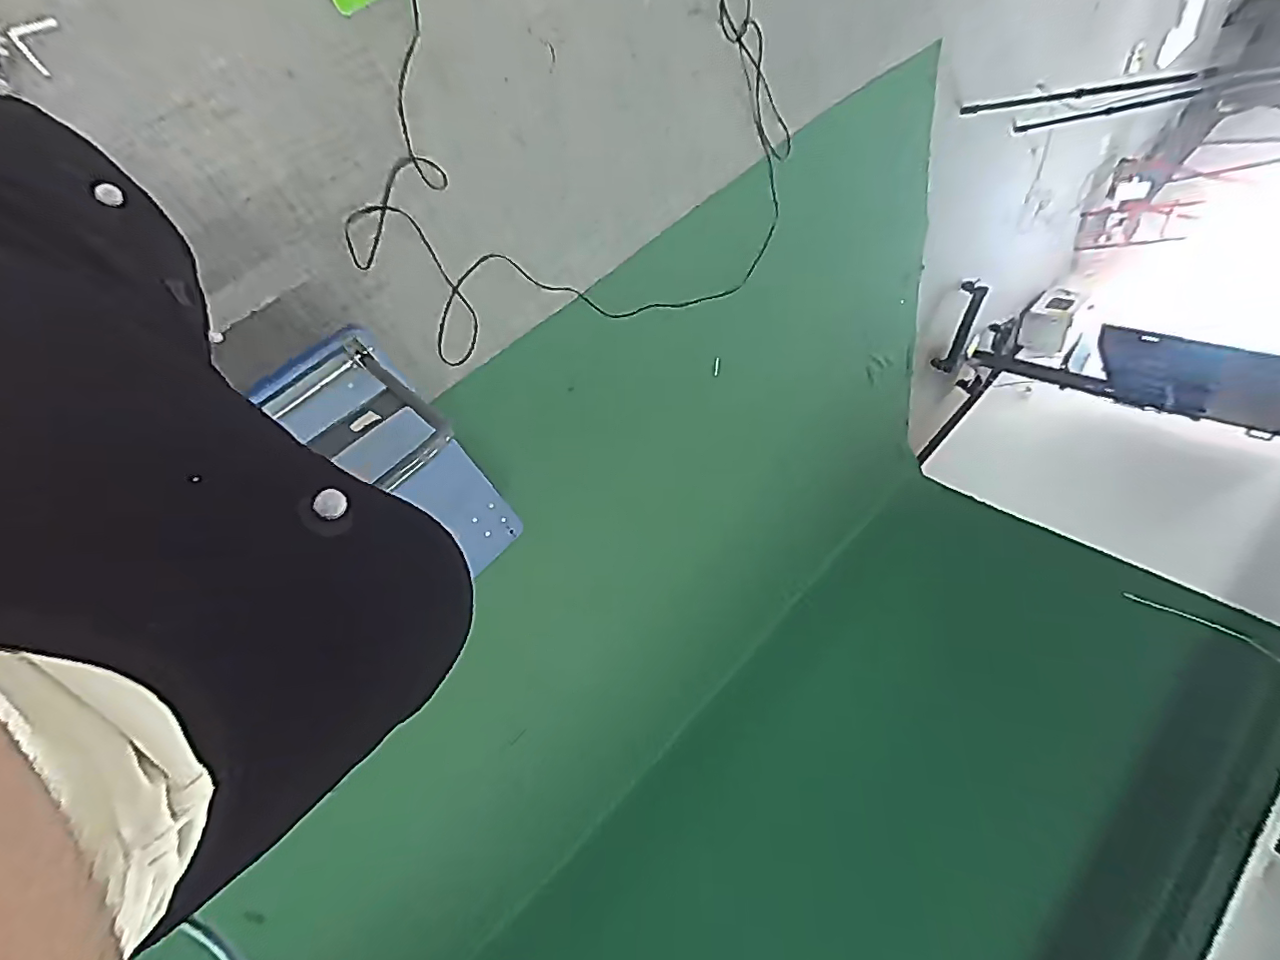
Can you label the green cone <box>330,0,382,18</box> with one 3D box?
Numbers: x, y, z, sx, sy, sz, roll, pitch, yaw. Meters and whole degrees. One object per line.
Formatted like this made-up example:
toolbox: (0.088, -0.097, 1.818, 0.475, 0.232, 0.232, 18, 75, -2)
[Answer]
green cone: (-0.499, -1.053, 1.017, 0.202, 0.368, 0.200, -47, 138, -15)
